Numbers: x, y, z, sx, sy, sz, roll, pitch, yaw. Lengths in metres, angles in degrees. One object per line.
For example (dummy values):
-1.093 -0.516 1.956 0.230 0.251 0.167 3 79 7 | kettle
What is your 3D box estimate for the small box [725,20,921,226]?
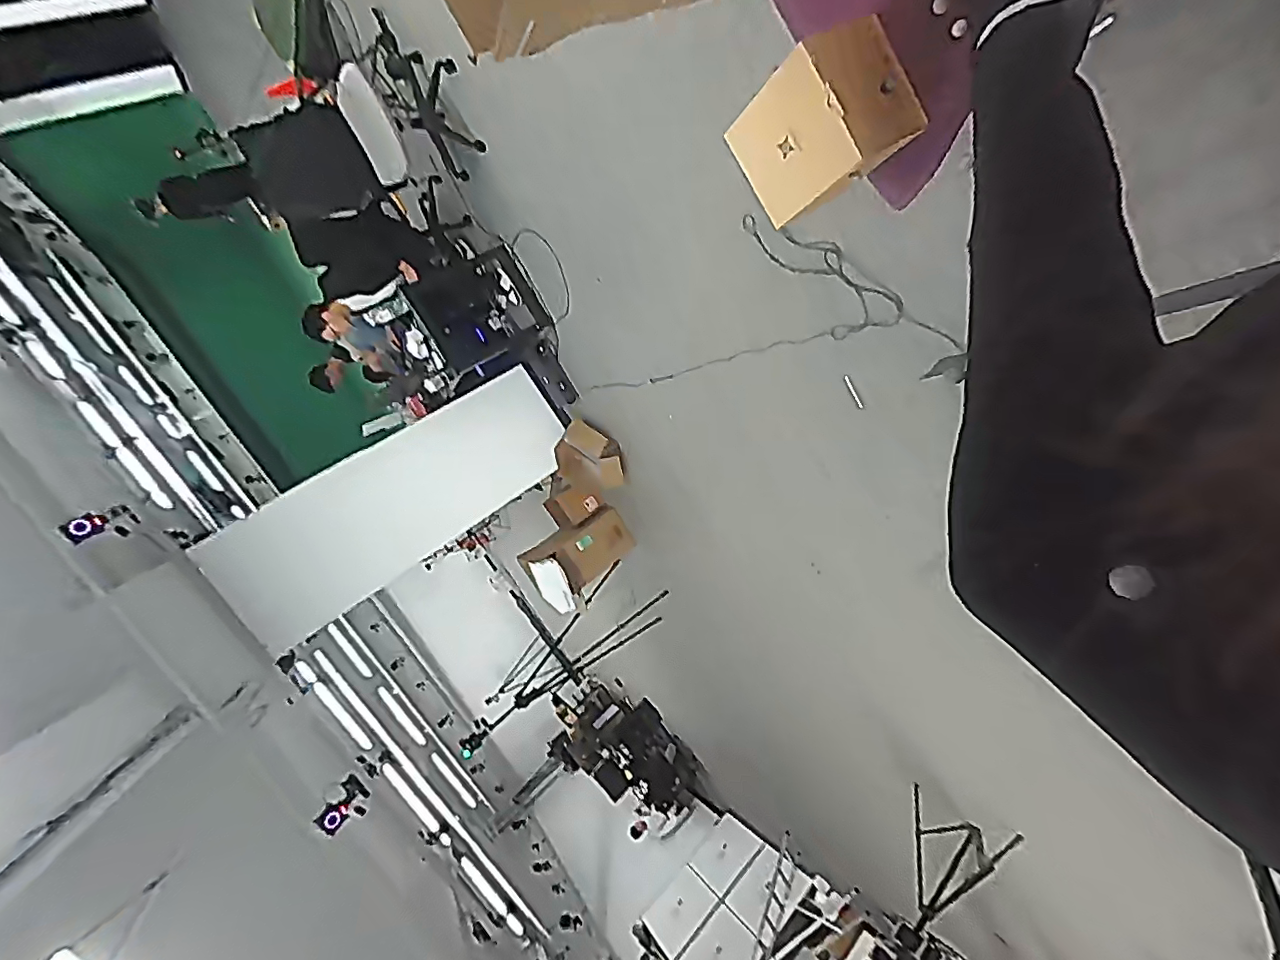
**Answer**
0.266 -0.516 0.793 0.168 0.176 0.179 57 154 -8 | small box
